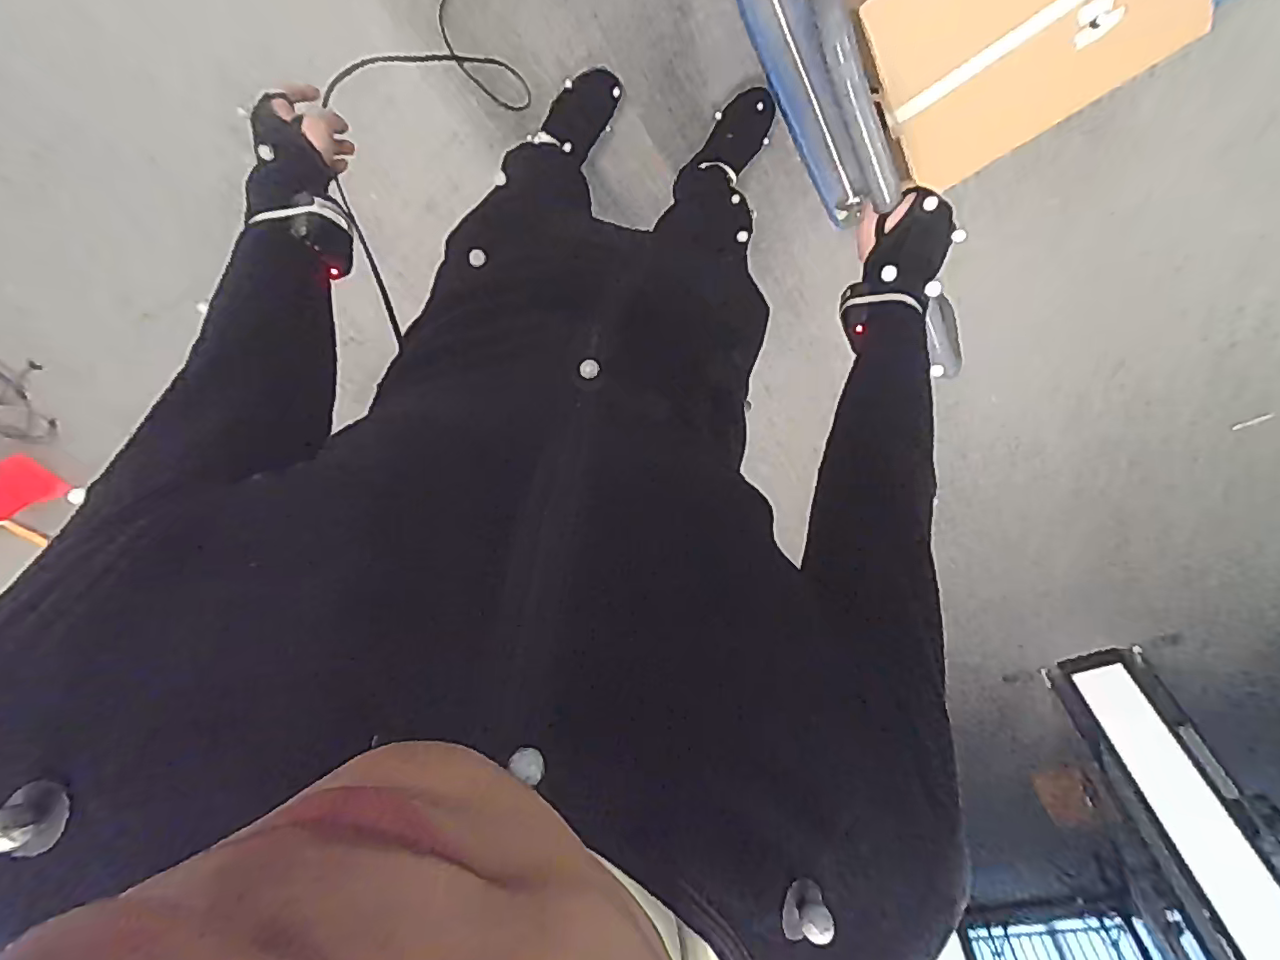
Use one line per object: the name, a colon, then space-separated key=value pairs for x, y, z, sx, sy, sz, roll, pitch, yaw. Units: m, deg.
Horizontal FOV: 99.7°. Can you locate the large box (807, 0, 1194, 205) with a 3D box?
large box: x=0.549 y=-0.746 z=0.885 sx=0.408 sy=0.320 sz=0.320 roll=-27 pitch=127 yaw=23
